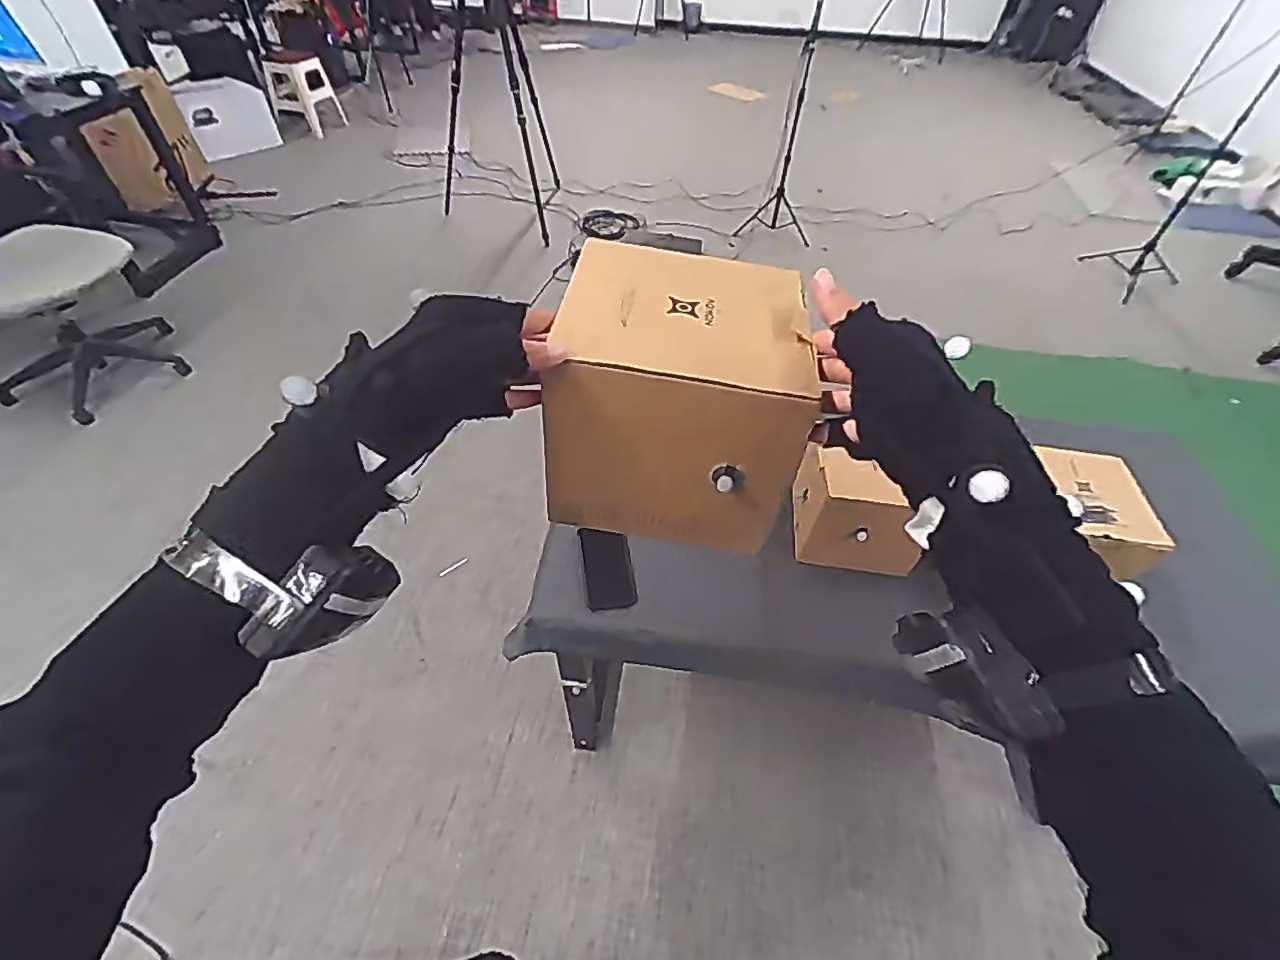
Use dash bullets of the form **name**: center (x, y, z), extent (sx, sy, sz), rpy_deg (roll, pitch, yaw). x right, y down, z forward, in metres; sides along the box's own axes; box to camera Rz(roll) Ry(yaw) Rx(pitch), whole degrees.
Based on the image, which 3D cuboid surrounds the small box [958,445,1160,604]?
- **small box**: center (0.637, 0.073, 0.852), extent (0.168, 0.176, 0.179), rpy_deg (9, 48, 5)

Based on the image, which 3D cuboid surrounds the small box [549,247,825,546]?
- **small box**: center (0.030, -0.063, 0.445), extent (0.179, 0.176, 0.168), rpy_deg (8, 48, 0)

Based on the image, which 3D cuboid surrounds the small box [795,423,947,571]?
- **small box**: center (0.355, 0.031, 0.875), extent (0.179, 0.176, 0.168), rpy_deg (7, 48, 4)
